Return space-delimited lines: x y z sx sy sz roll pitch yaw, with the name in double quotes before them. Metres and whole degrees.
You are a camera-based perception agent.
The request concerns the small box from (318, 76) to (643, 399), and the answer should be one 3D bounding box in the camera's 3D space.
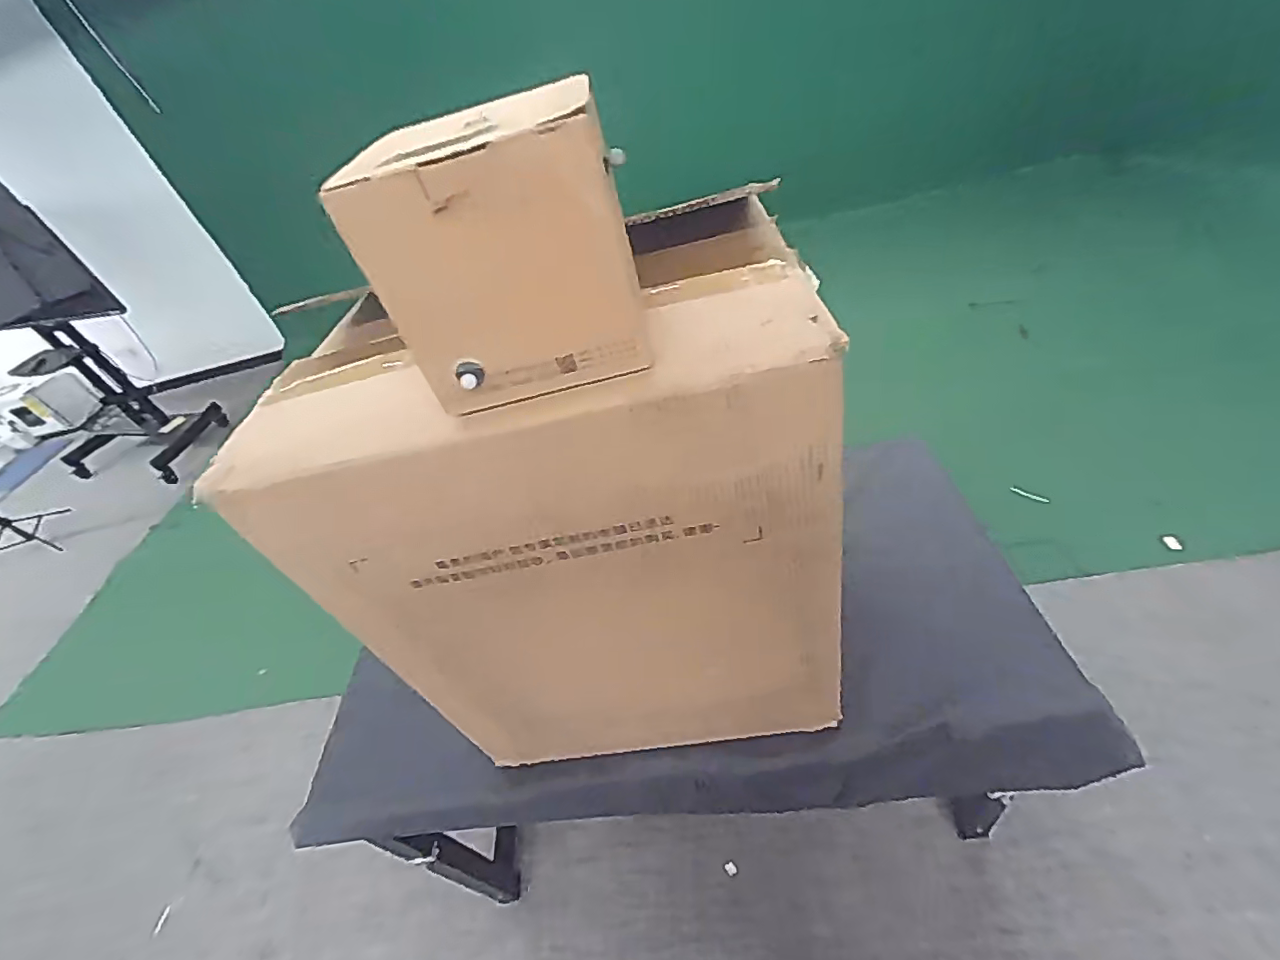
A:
"small box" -0.098 -0.180 0.422 0.168 0.176 0.179 -12 42 6
